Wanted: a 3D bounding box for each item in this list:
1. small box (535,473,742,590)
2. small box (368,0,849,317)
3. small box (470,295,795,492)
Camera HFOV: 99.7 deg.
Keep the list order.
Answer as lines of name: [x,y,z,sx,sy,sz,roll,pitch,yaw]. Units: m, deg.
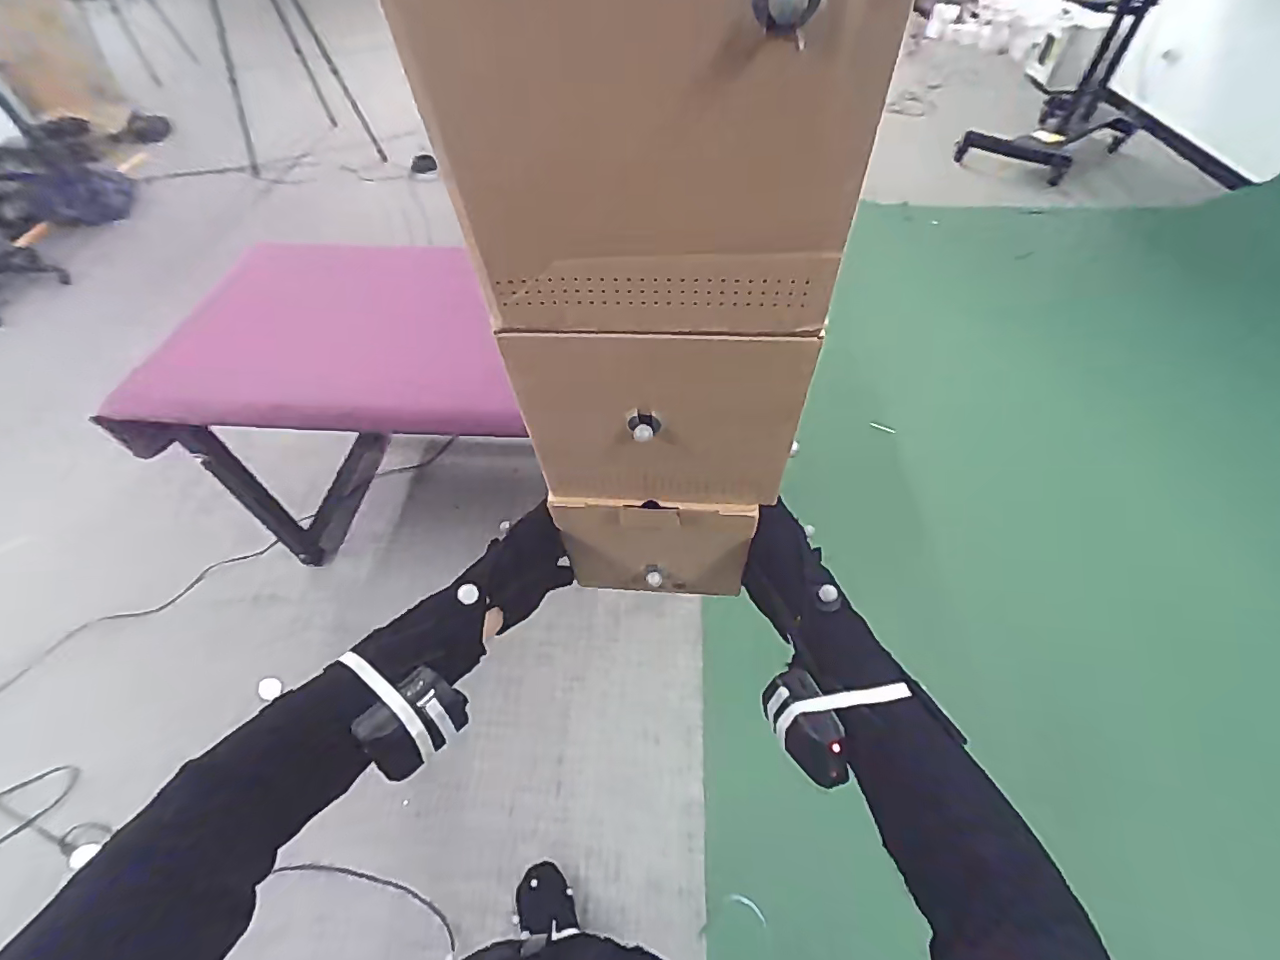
small box: [0.010,-0.010,0.531,0.168,0.176,0.179,2,57,6]
small box: [-0.006,-0.195,0.261,0.179,0.176,0.168,2,56,5]
small box: [0.007,-0.105,0.393,0.179,0.176,0.168,5,55,7]
